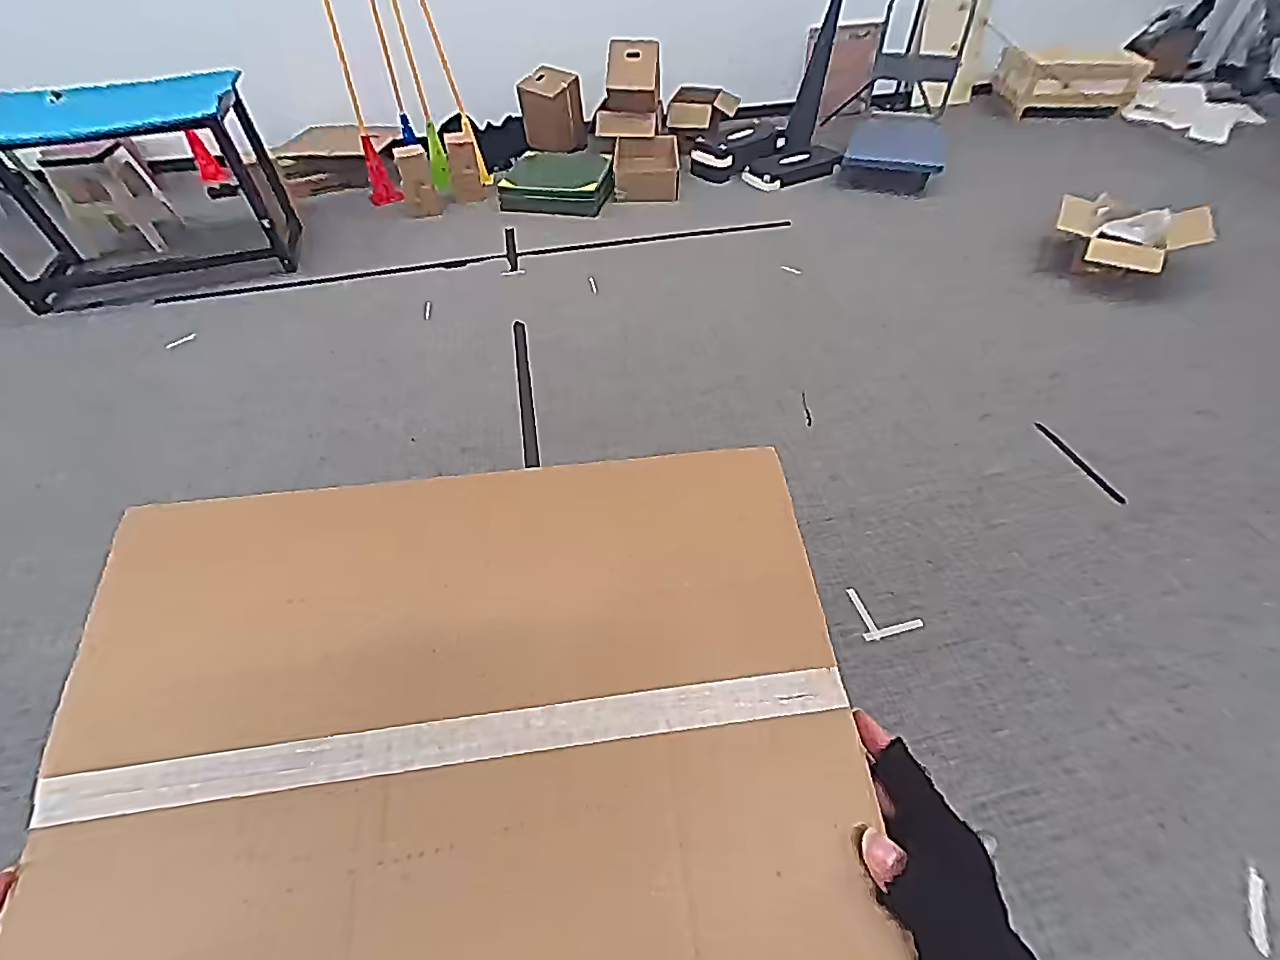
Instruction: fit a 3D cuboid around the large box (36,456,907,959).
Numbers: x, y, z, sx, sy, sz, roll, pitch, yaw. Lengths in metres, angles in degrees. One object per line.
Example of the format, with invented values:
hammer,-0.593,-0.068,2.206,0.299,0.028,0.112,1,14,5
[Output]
large box,-0.093,0.206,0.427,0.408,0.320,0.320,-6,65,-5
